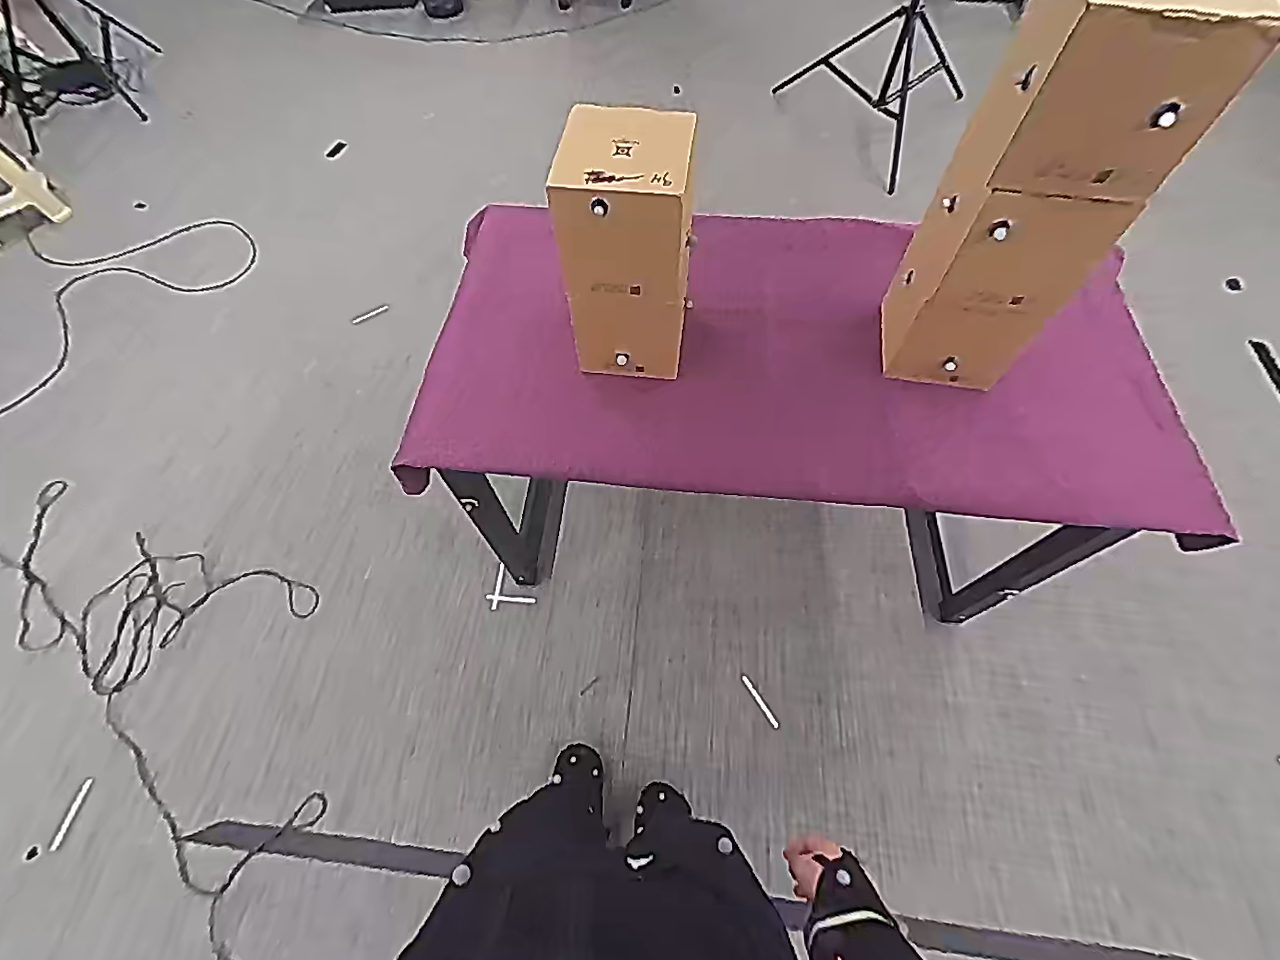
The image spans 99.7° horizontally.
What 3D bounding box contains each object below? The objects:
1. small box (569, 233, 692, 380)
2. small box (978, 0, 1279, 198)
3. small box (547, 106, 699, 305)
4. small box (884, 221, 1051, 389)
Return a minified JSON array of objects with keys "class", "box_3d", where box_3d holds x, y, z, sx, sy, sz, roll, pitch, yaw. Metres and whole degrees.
[{"class":"small box","box_3d":[-0.010,-0.288,0.875,0.168,0.176,0.179,6,62,5]},{"class":"small box","box_3d":[0.483,-0.424,0.563,0.168,0.176,0.179,11,61,7]},{"class":"small box","box_3d":[-0.015,-0.366,0.731,0.168,0.176,0.179,6,61,5]},{"class":"small box","box_3d":[0.497,-0.272,0.852,0.168,0.176,0.179,9,62,7]}]
